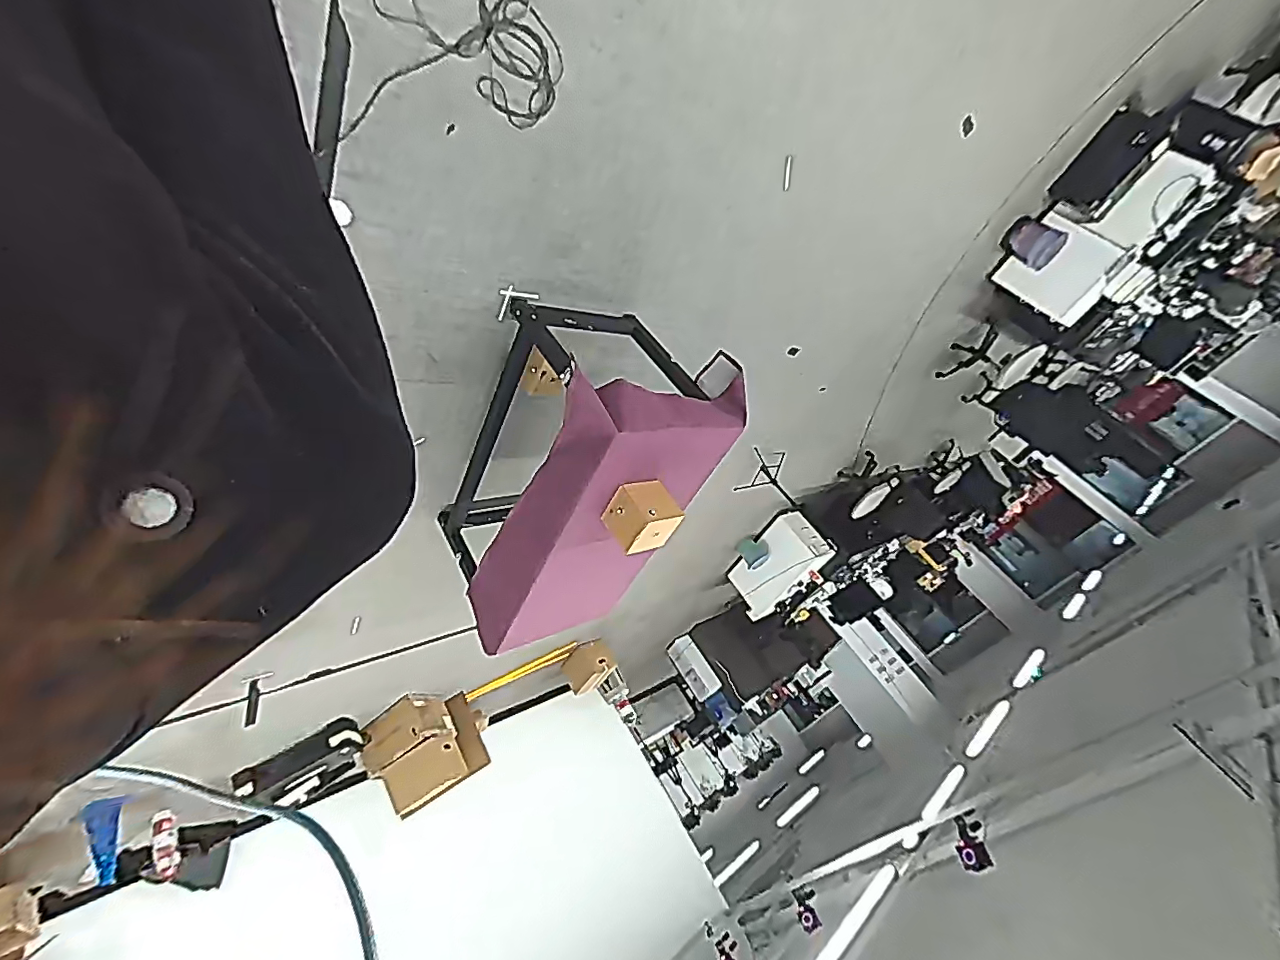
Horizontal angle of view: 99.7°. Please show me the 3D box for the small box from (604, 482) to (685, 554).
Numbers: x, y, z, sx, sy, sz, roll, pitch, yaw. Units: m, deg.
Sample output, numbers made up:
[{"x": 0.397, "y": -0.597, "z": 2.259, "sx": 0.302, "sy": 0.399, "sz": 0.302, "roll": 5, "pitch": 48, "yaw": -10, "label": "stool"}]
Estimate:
[{"x": 0.011, "y": 0.120, "z": 1.812, "sx": 0.179, "sy": 0.176, "sz": 0.168, "roll": -7, "pitch": 140, "yaw": -43, "label": "small box"}]
